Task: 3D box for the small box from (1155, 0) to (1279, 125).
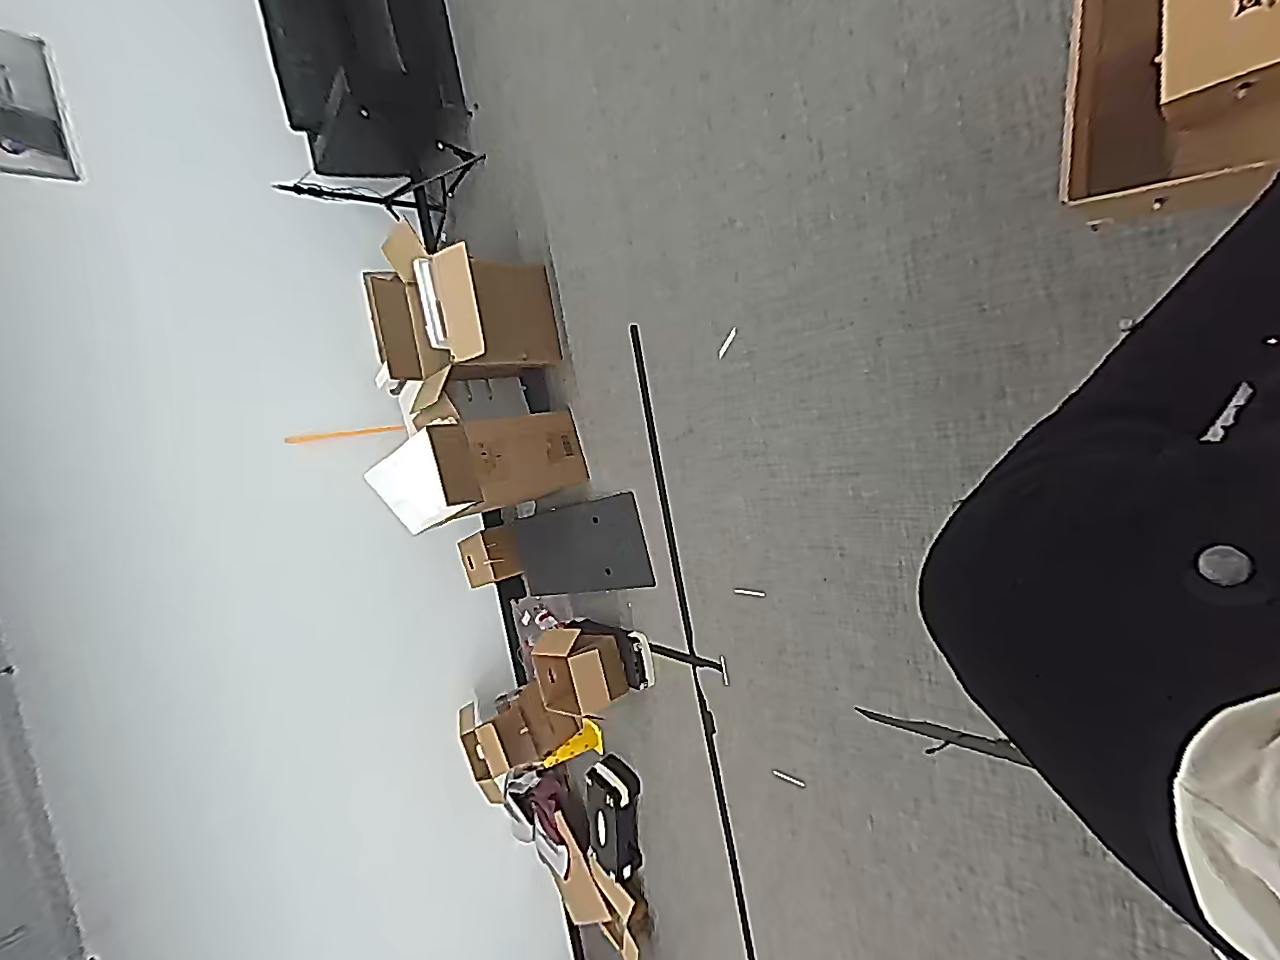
[{"bbox_3d":[0.813,-0.604,0.712,0.179,0.176,0.168,4,103,48],"label":"small box"}]
